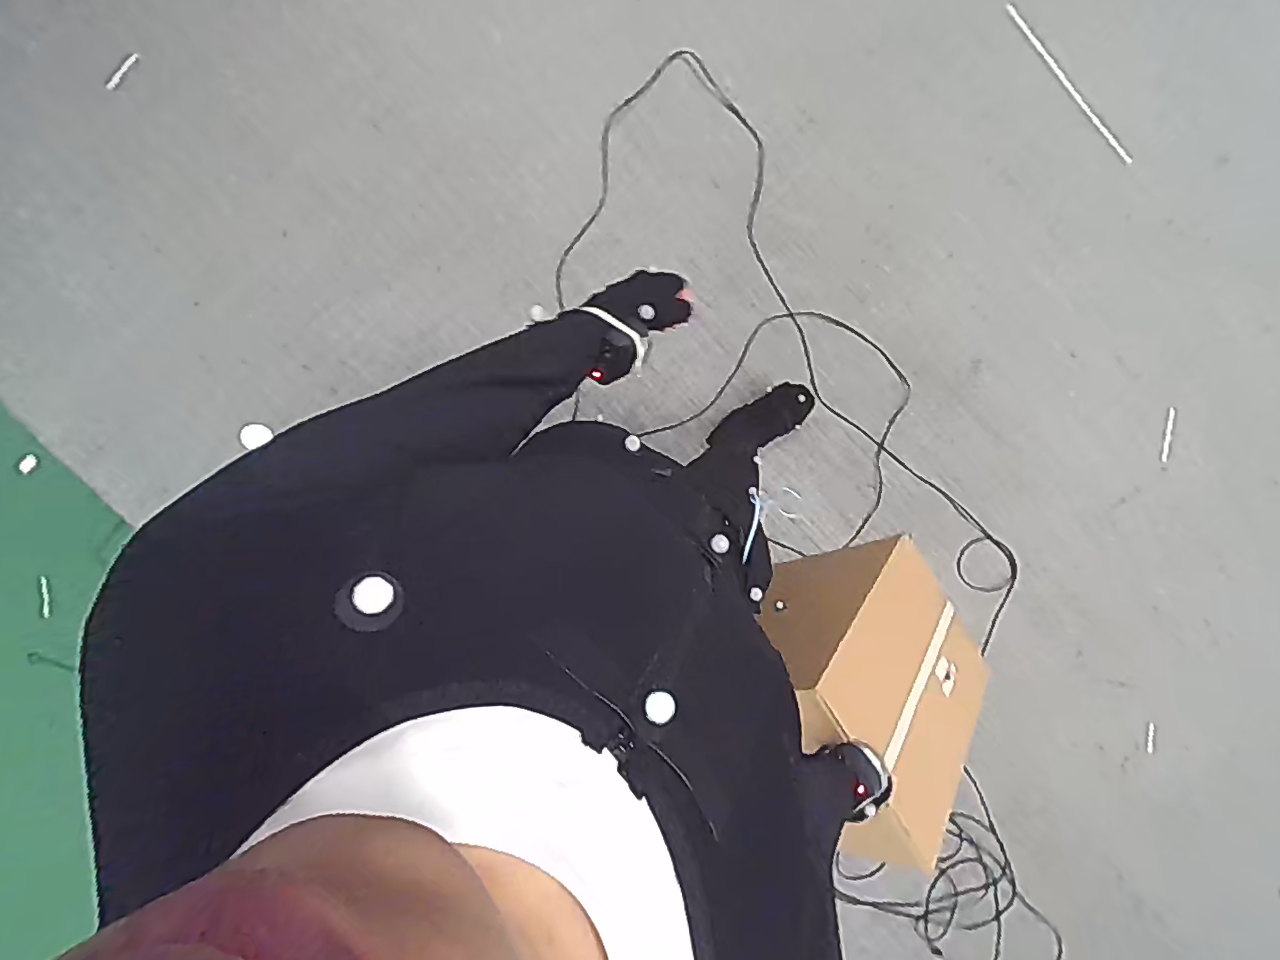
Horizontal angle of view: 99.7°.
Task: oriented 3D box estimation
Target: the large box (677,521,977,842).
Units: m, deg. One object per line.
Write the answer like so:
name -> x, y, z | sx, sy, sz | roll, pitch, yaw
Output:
large box -> 0.342, 0.338, 0.978 | 0.320, 0.408, 0.320 | -26, 98, 48
